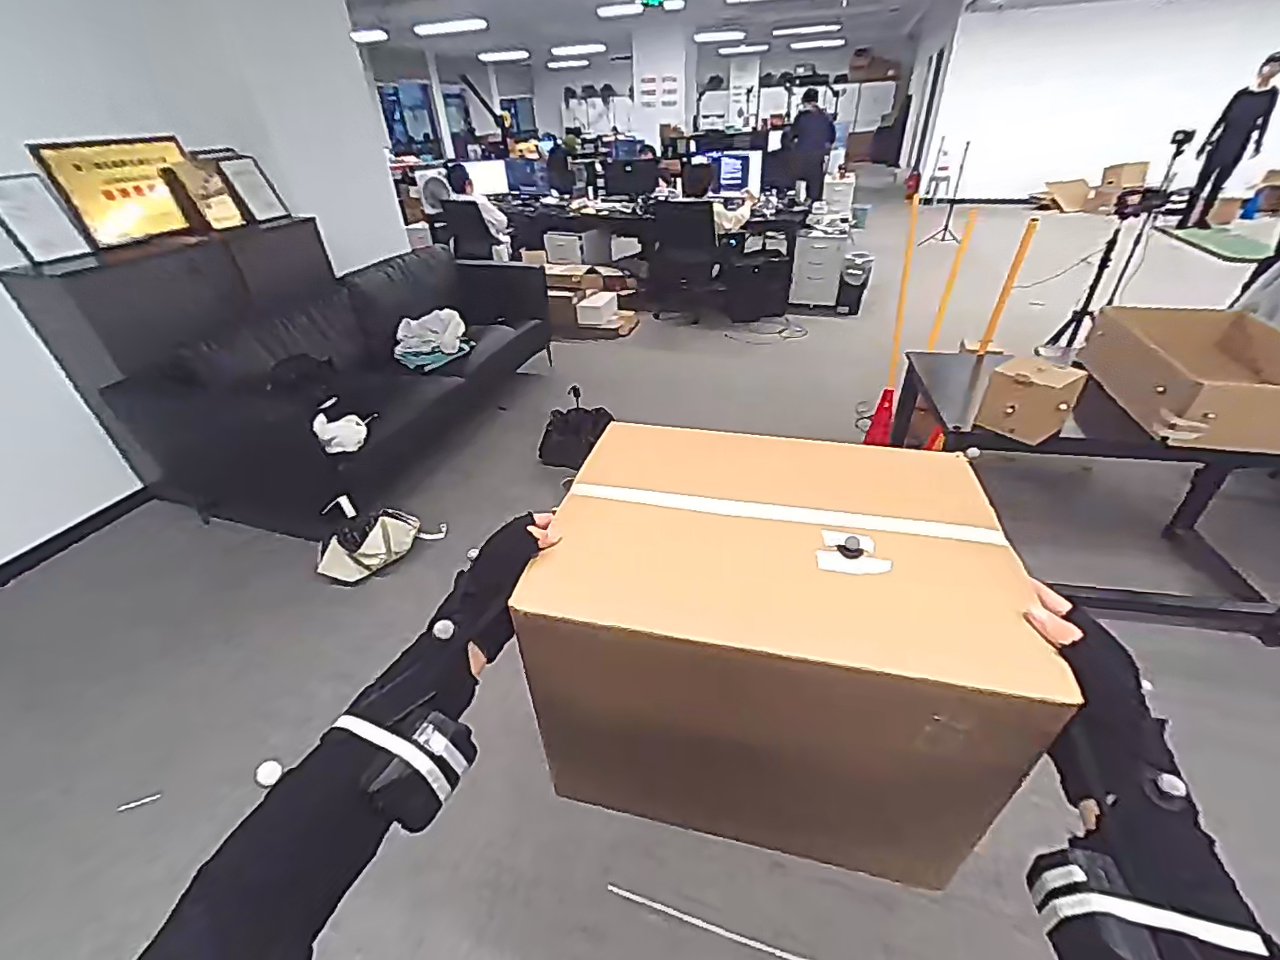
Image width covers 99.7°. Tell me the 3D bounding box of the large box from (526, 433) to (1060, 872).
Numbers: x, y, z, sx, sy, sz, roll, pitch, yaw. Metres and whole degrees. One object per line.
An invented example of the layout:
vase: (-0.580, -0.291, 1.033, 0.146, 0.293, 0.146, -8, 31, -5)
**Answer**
large box: (0.129, 0.166, 0.608, 0.408, 0.320, 0.320, 7, 36, 11)
